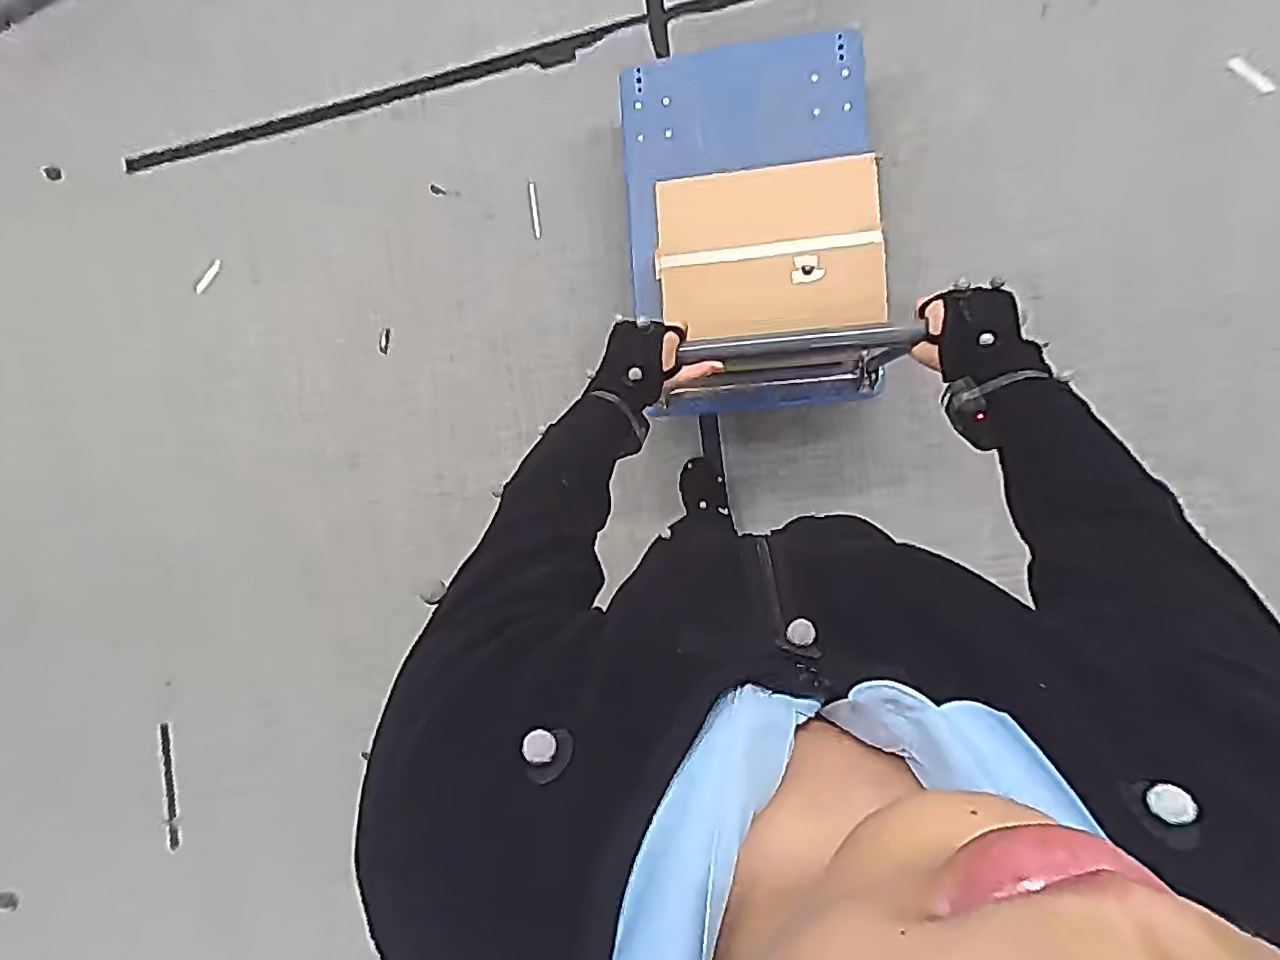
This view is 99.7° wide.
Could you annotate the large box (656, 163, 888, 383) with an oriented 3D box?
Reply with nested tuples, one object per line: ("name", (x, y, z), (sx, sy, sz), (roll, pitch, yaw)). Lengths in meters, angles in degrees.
("large box", (0.252, -0.403, 1.140), (0.408, 0.320, 0.320), (-4, 89, 7))
